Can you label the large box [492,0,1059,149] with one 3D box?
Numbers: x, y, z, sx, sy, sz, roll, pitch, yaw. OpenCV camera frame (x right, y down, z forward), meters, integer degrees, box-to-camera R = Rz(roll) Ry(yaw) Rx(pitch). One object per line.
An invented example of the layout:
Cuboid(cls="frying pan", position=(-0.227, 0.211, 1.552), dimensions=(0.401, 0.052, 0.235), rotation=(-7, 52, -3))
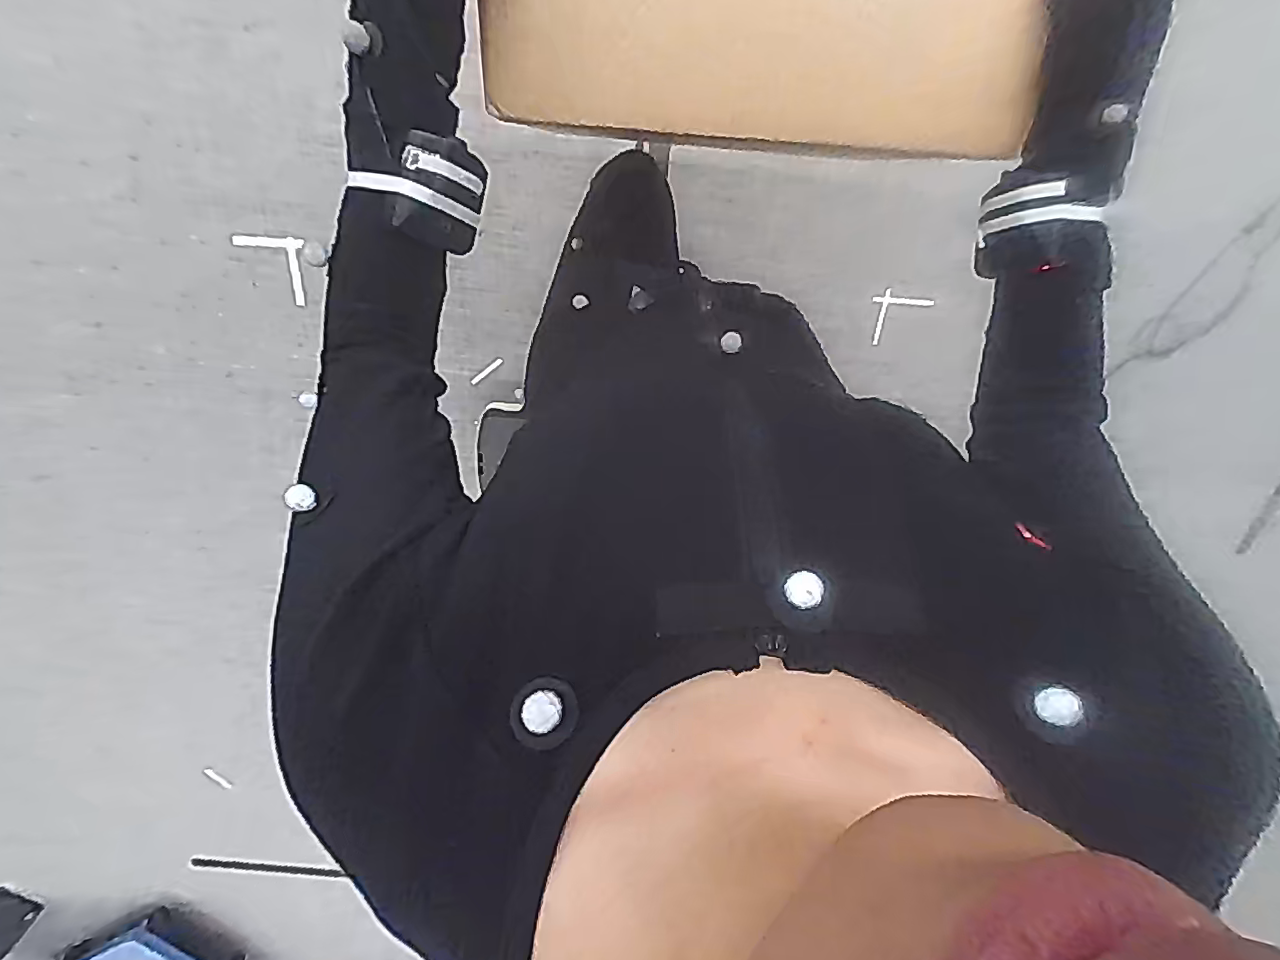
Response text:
Cuboid(cls="large box", position=(0.098, -0.479, 0.465), dimensions=(0.408, 0.320, 0.320), rotation=(3, 121, -1))
